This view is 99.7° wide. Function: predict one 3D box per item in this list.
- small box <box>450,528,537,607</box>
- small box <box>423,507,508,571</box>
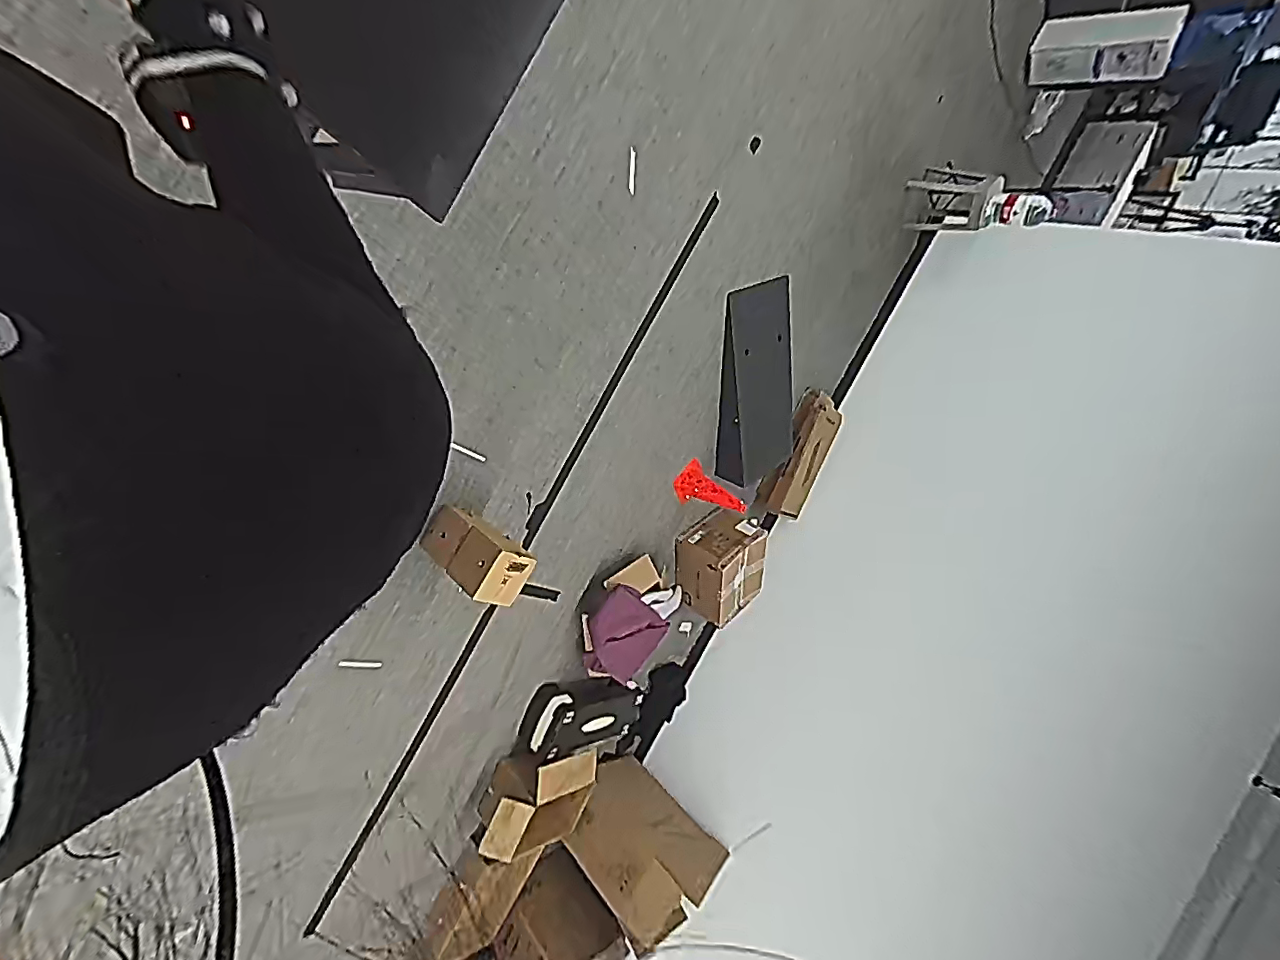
[{"bbox_3d":[-0.467,0.275,1.710,0.179,0.176,0.168,-59,144,-2],"label":"small box"},{"bbox_3d":[-0.586,0.207,1.804,0.179,0.176,0.168,33,86,-53],"label":"small box"}]
